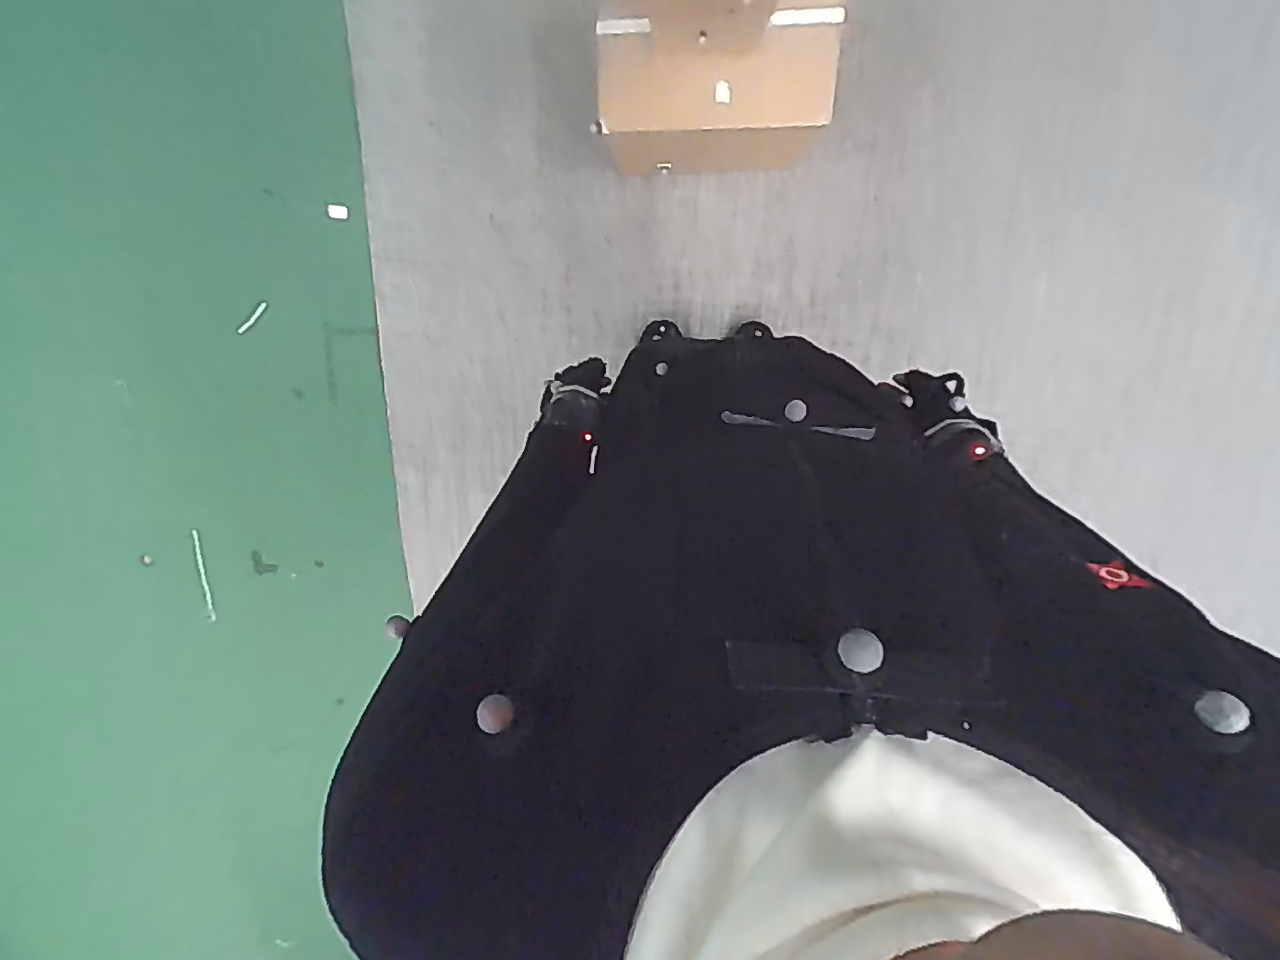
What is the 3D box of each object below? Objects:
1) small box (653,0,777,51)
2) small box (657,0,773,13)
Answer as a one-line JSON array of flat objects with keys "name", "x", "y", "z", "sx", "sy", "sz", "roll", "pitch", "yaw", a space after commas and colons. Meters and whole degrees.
[{"name": "small box", "x": 0.110, "y": -0.765, "z": 0.804, "sx": 0.179, "sy": 0.176, "sz": 0.168, "roll": 1, "pitch": 114, "yaw": 5}, {"name": "small box", "x": 0.097, "y": -0.702, "z": 0.656, "sx": 0.168, "sy": 0.176, "sz": 0.179, "roll": 1, "pitch": 113, "yaw": 4}]
